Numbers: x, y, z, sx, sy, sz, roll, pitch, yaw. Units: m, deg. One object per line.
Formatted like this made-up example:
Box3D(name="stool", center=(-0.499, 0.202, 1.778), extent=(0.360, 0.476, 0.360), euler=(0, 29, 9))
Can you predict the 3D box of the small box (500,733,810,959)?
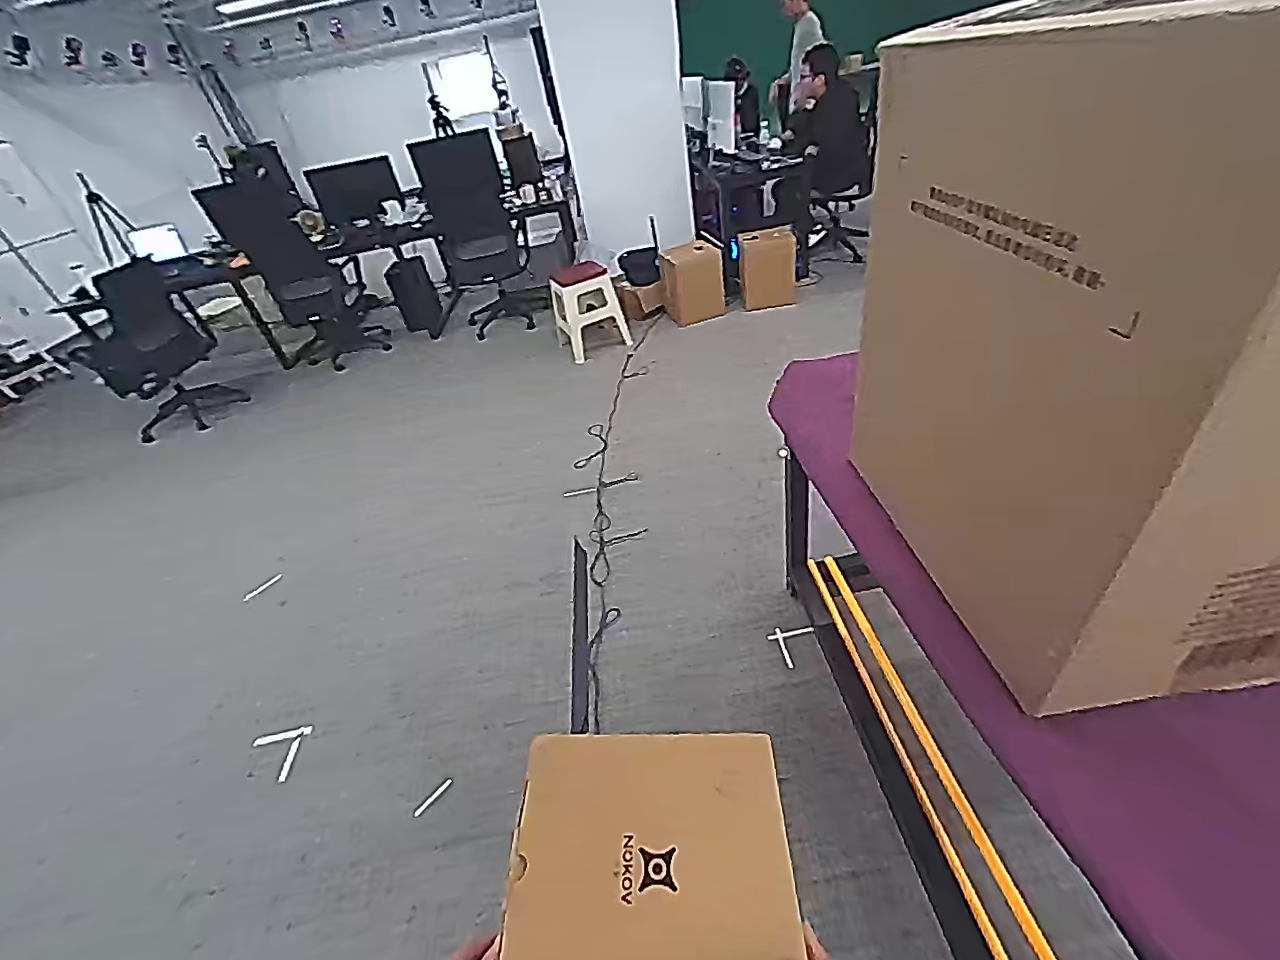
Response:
Box3D(name="small box", center=(0.011, 0.300, 0.384), extent=(0.179, 0.176, 0.168), euler=(-1, 39, 2))
